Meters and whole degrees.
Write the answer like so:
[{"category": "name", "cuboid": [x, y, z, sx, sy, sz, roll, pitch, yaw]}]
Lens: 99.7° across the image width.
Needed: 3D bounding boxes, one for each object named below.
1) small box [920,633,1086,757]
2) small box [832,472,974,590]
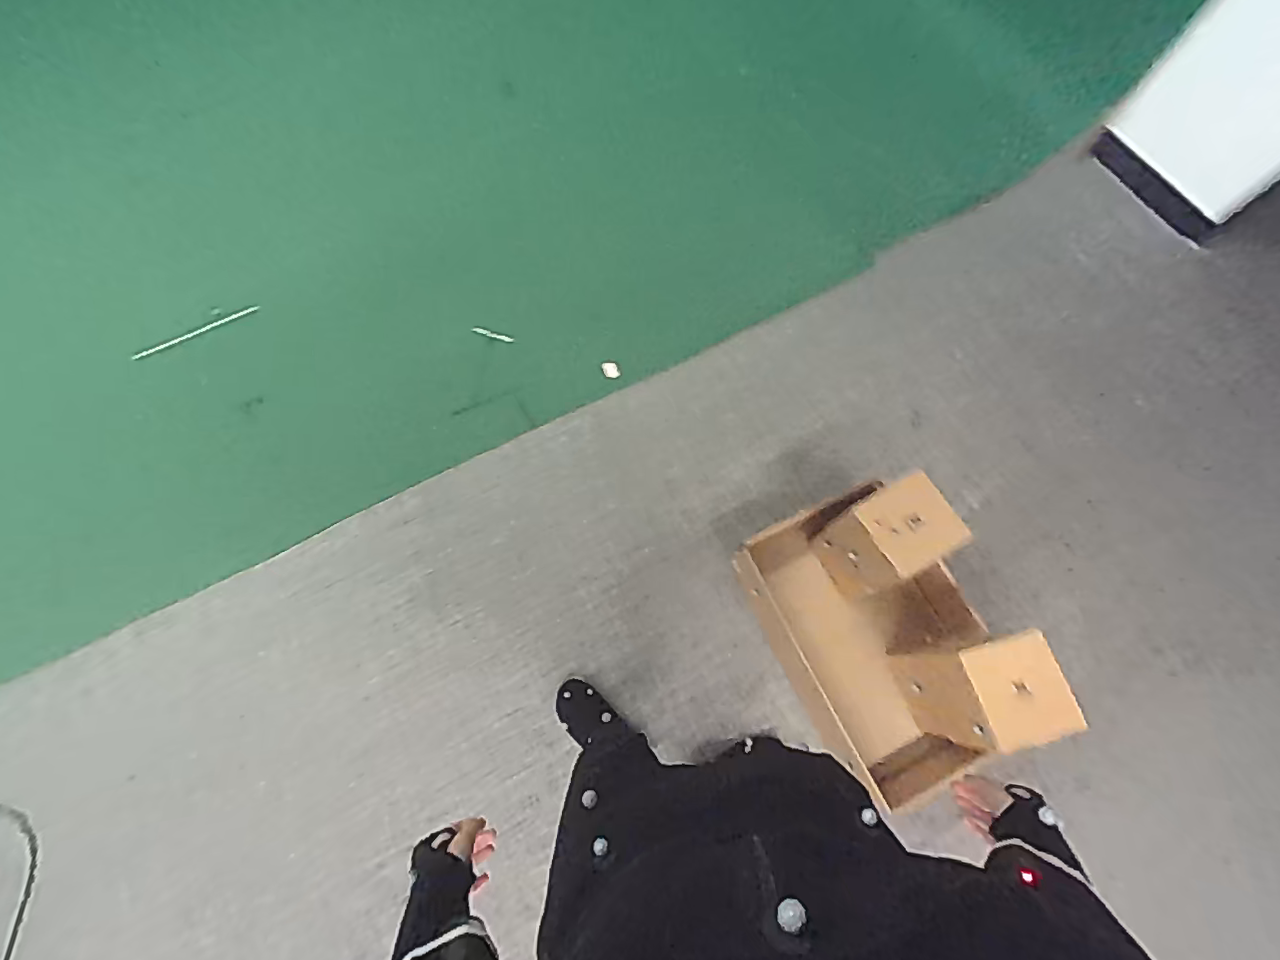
[{"category": "small box", "cuboid": [0.675, 0.403, 1.032, 0.168, 0.176, 0.179, -15, 72, -3]}, {"category": "small box", "cuboid": [0.534, 0.112, 1.126, 0.179, 0.176, 0.168, -28, 72, -7]}]
